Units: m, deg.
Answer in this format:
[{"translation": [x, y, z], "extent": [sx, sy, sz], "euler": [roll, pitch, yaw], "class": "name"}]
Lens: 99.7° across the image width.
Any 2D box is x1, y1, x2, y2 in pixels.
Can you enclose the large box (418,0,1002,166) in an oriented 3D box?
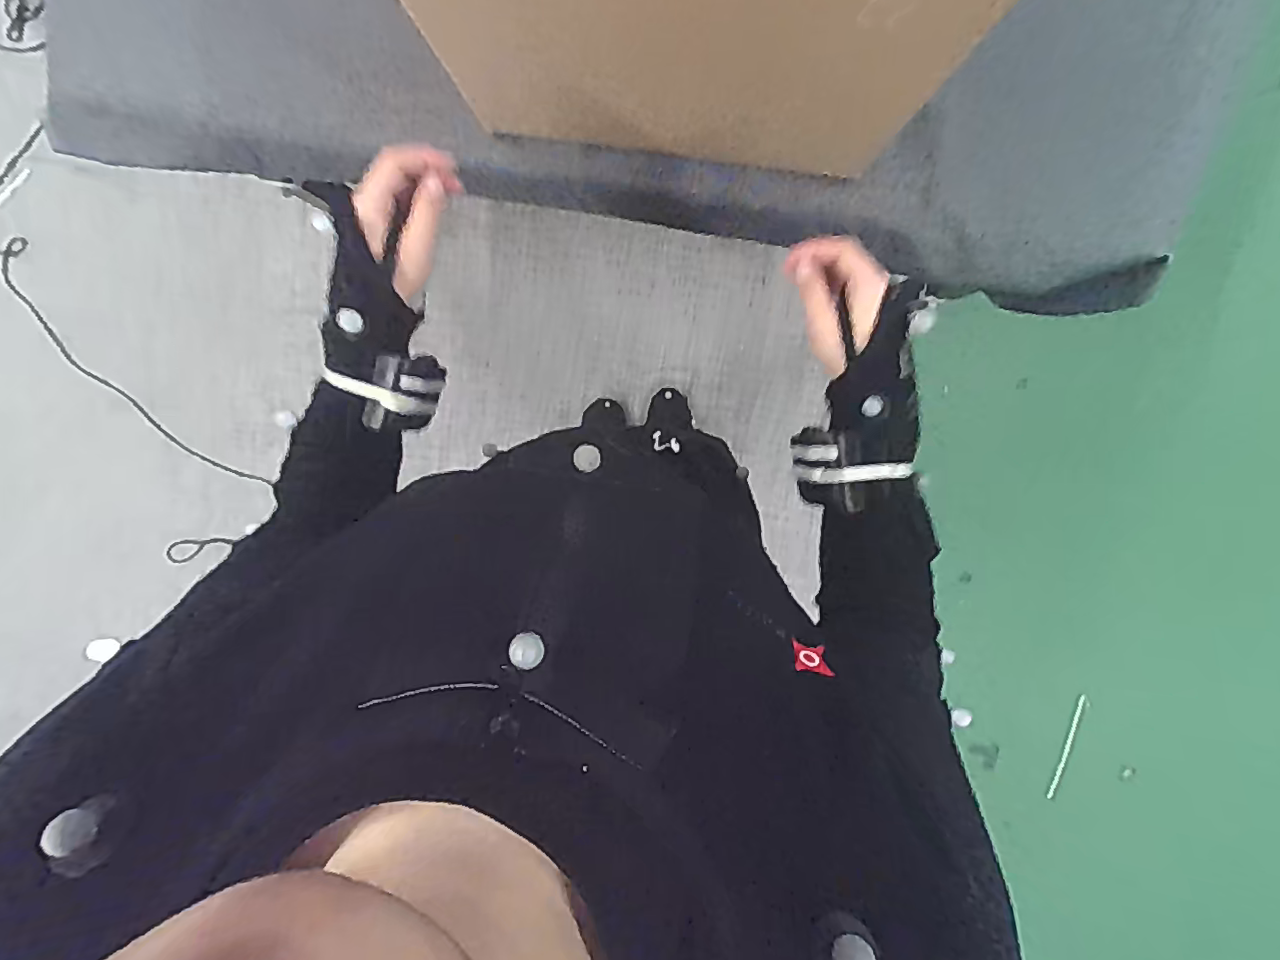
[{"translation": [0.048, -0.478, 0.406], "extent": [0.408, 0.320, 0.320], "euler": [7, 100, 0], "class": "large box"}]
